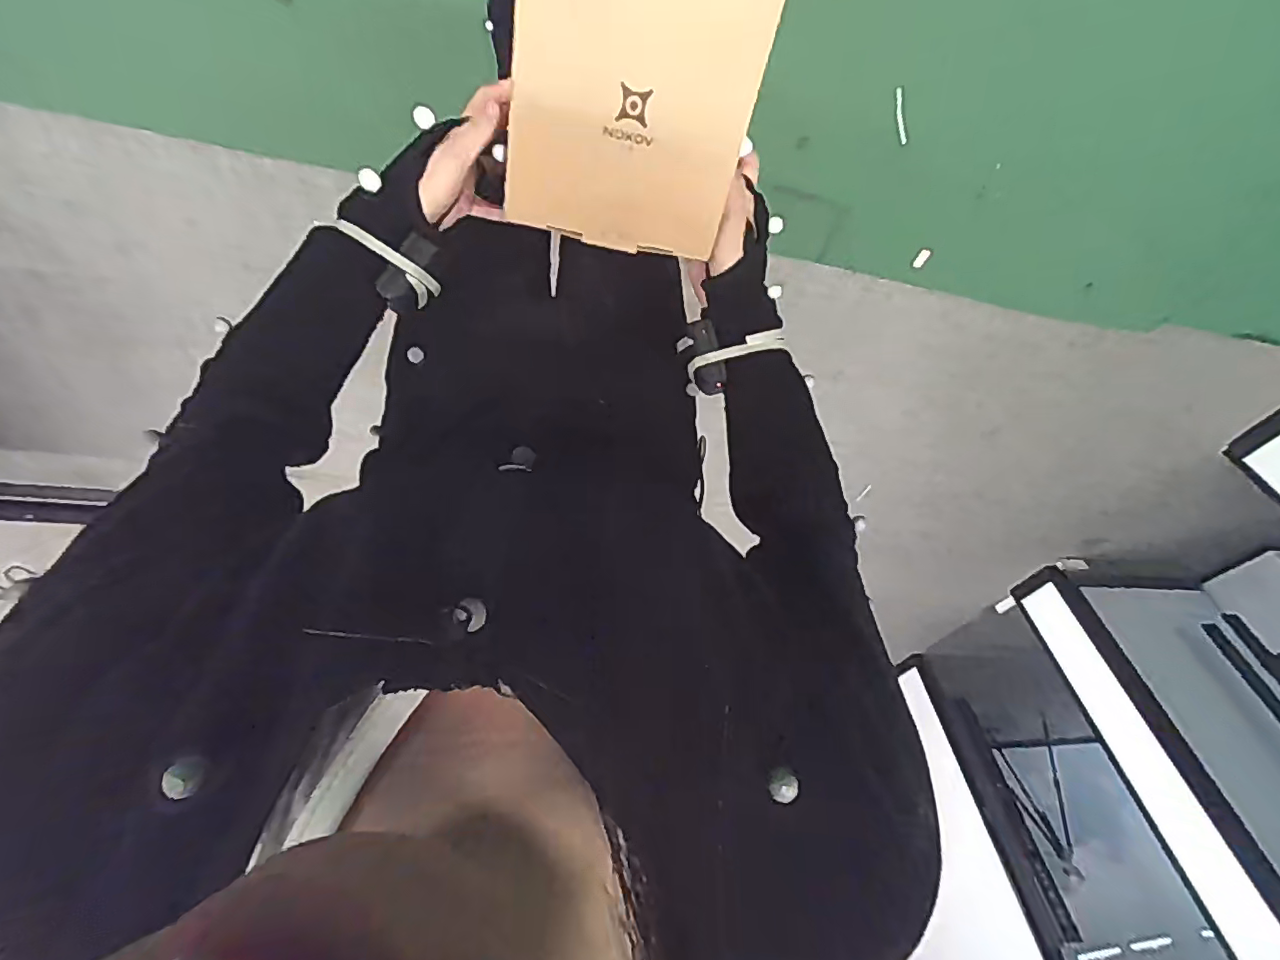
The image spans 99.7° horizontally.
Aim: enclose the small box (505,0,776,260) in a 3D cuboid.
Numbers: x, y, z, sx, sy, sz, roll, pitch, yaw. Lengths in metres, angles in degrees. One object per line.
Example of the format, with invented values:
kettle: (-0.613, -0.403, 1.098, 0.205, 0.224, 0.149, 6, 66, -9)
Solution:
small box: (-0.014, -0.309, 0.439, 0.168, 0.176, 0.179, 6, 131, -10)
